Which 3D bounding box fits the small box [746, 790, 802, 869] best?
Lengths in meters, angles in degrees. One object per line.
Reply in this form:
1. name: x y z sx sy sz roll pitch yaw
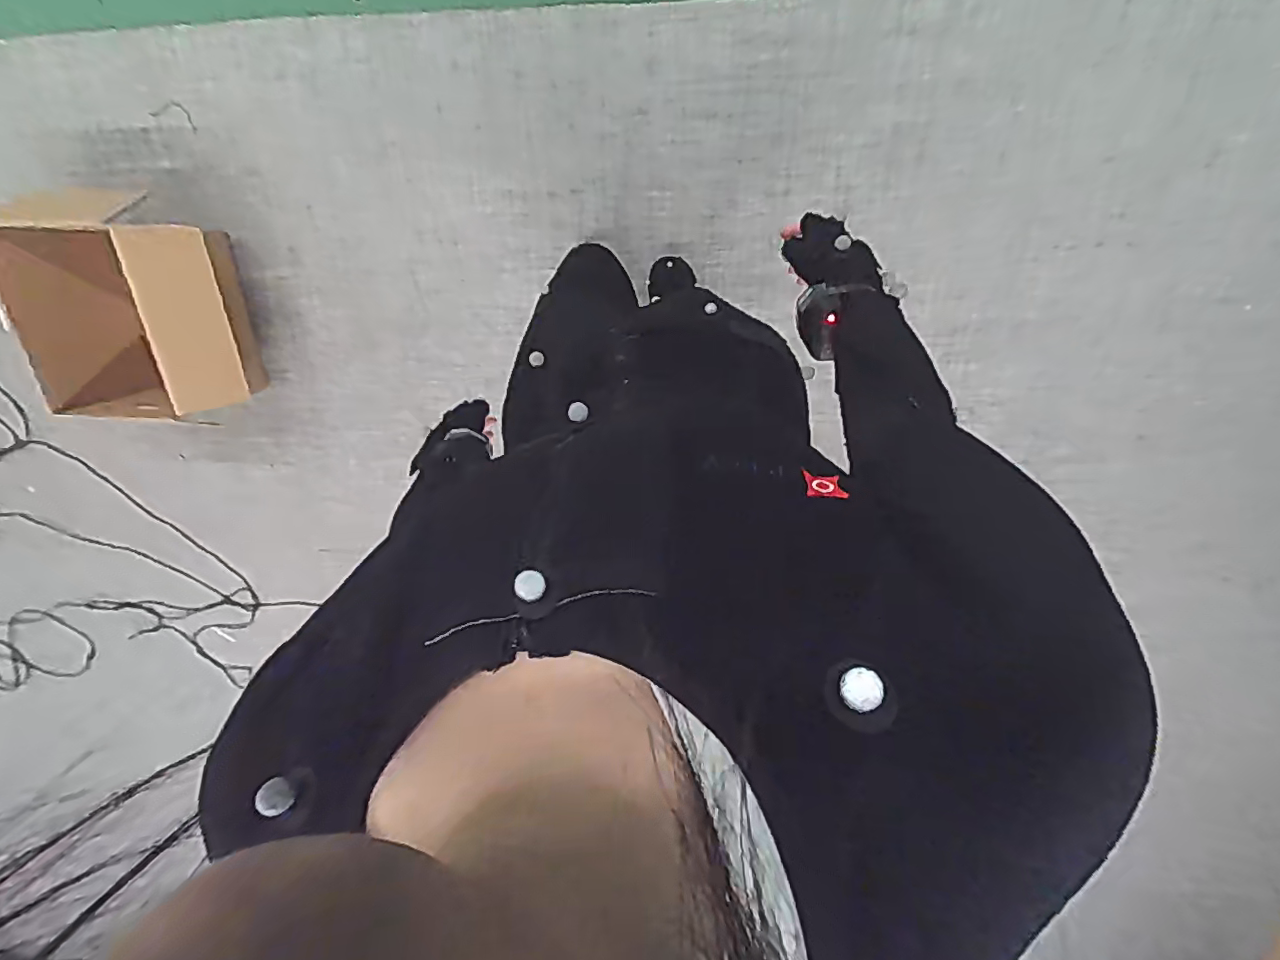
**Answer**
1. small box: 0.470 1.237 1.918 0.168 0.176 0.179 -1 112 4
